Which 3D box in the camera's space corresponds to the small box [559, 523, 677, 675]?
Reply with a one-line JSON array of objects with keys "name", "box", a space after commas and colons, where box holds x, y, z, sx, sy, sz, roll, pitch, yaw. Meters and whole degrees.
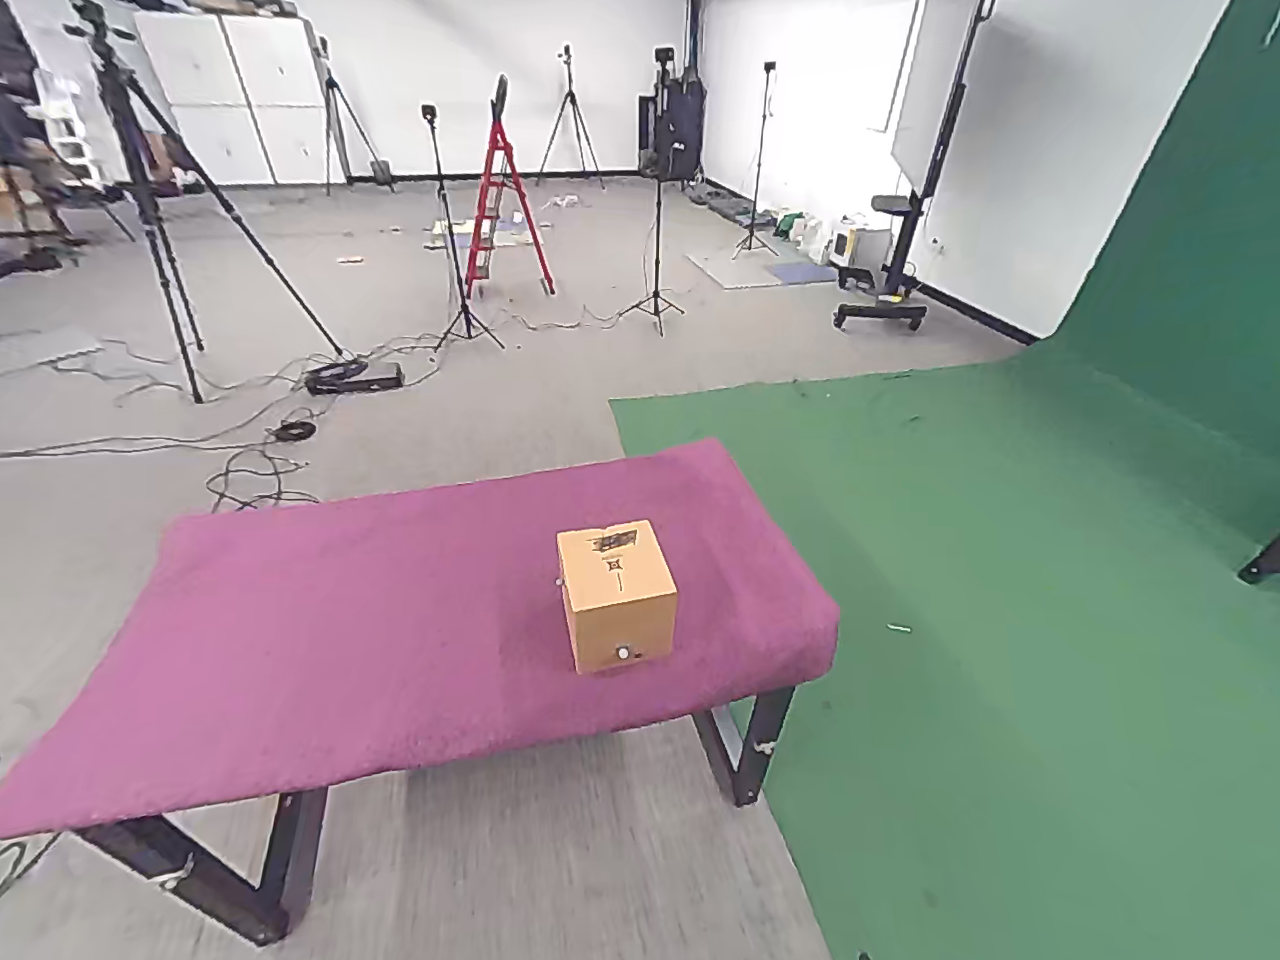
[{"name": "small box", "box": [-0.044, 0.201, 0.927, 0.168, 0.176, 0.179, -8, 39, -12]}]
